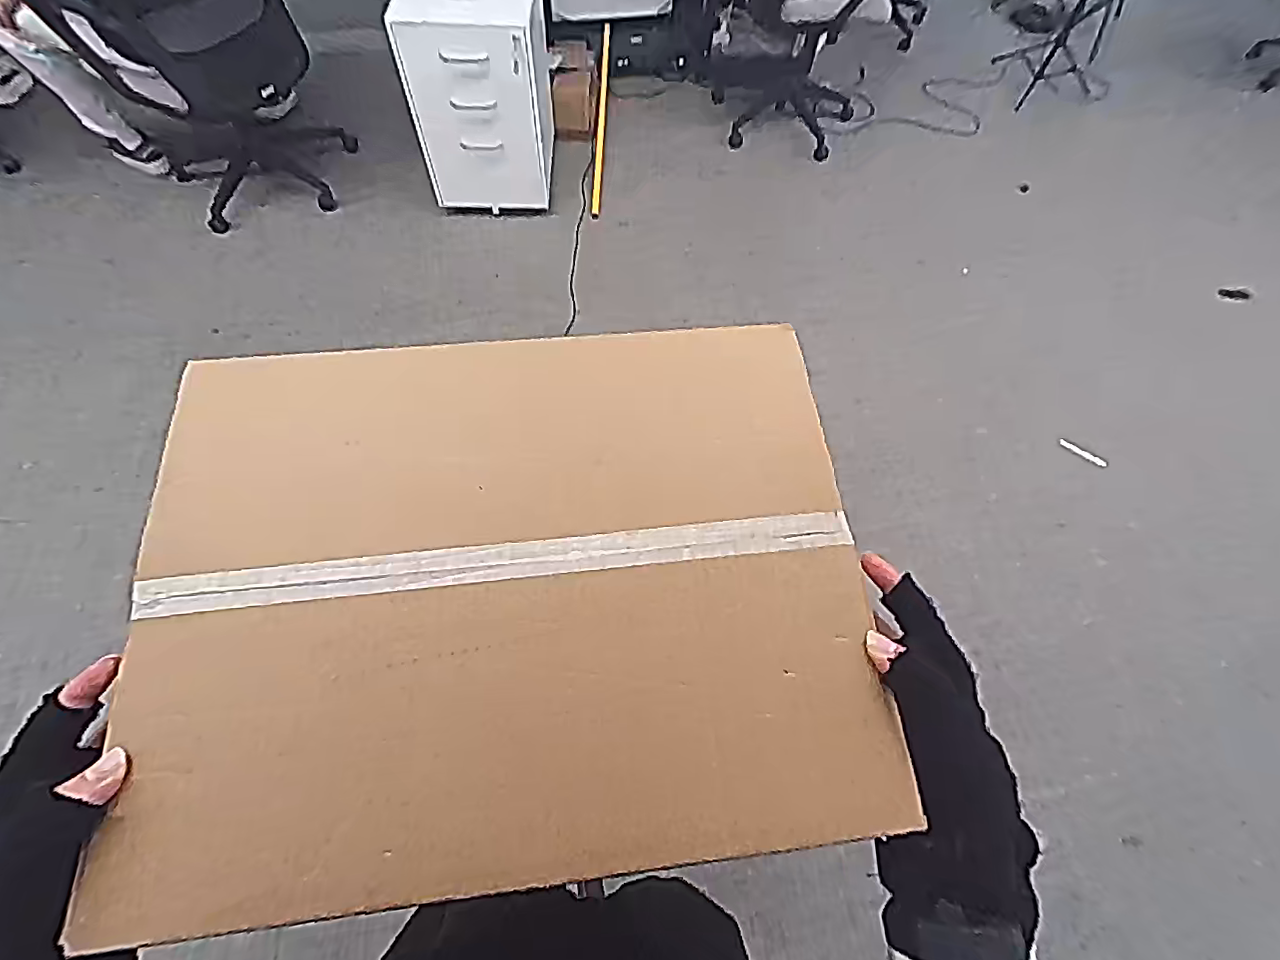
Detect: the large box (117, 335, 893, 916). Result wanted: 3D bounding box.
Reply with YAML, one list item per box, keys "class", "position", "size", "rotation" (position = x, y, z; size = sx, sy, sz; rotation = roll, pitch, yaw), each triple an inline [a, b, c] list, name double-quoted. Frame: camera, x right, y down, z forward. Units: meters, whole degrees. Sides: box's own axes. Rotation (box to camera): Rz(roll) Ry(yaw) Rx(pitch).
- class: "large box"
  position: [-0.082, 0.107, 0.469]
  size: [0.408, 0.320, 0.320]
  rotation: [-5, 69, -5]
